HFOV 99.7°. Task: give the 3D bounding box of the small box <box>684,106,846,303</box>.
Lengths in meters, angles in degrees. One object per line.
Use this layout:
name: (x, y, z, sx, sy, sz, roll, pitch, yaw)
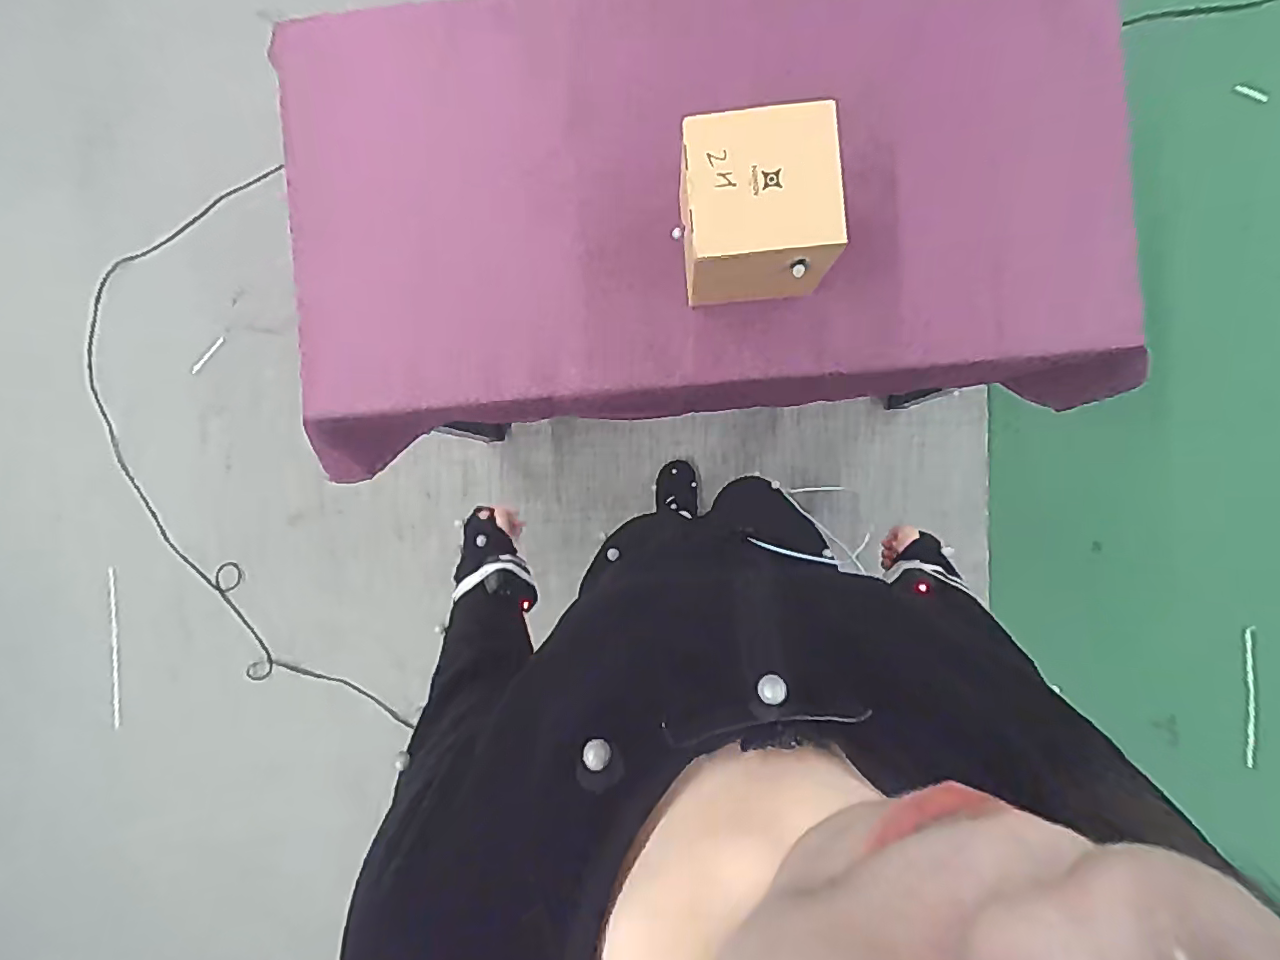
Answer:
small box: (0.150, -0.343, 0.703, 0.179, 0.176, 0.168, -3, 88, 4)
